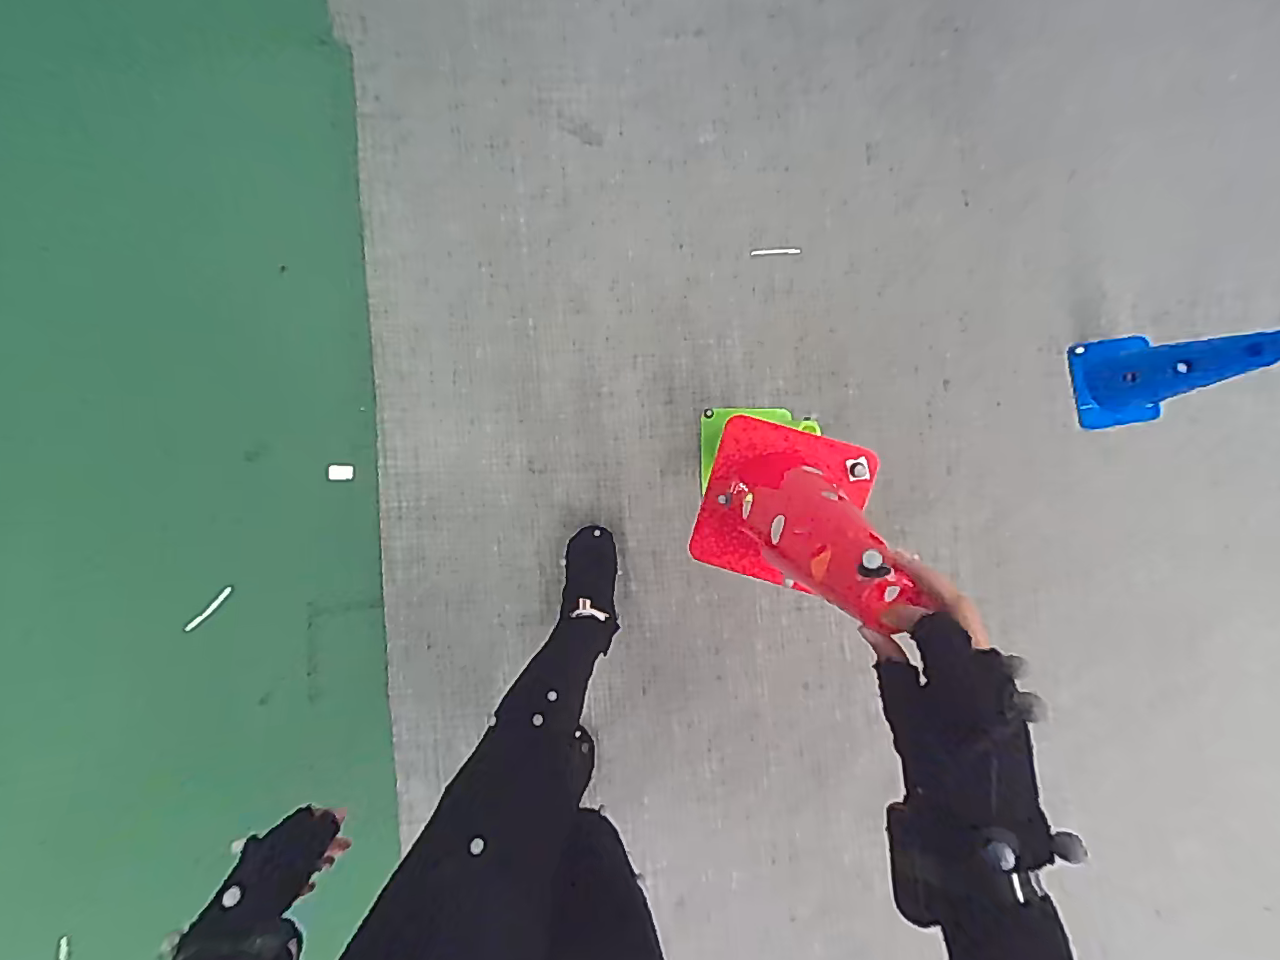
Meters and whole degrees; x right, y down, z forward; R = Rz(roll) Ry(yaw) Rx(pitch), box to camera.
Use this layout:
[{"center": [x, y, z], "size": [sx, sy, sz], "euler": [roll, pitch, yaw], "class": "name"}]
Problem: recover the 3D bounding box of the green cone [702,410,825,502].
[{"center": [0.248, -0.061, 1.008], "size": [0.202, 0.368, 0.200], "euler": [-1, 88, -4], "class": "green cone"}]
